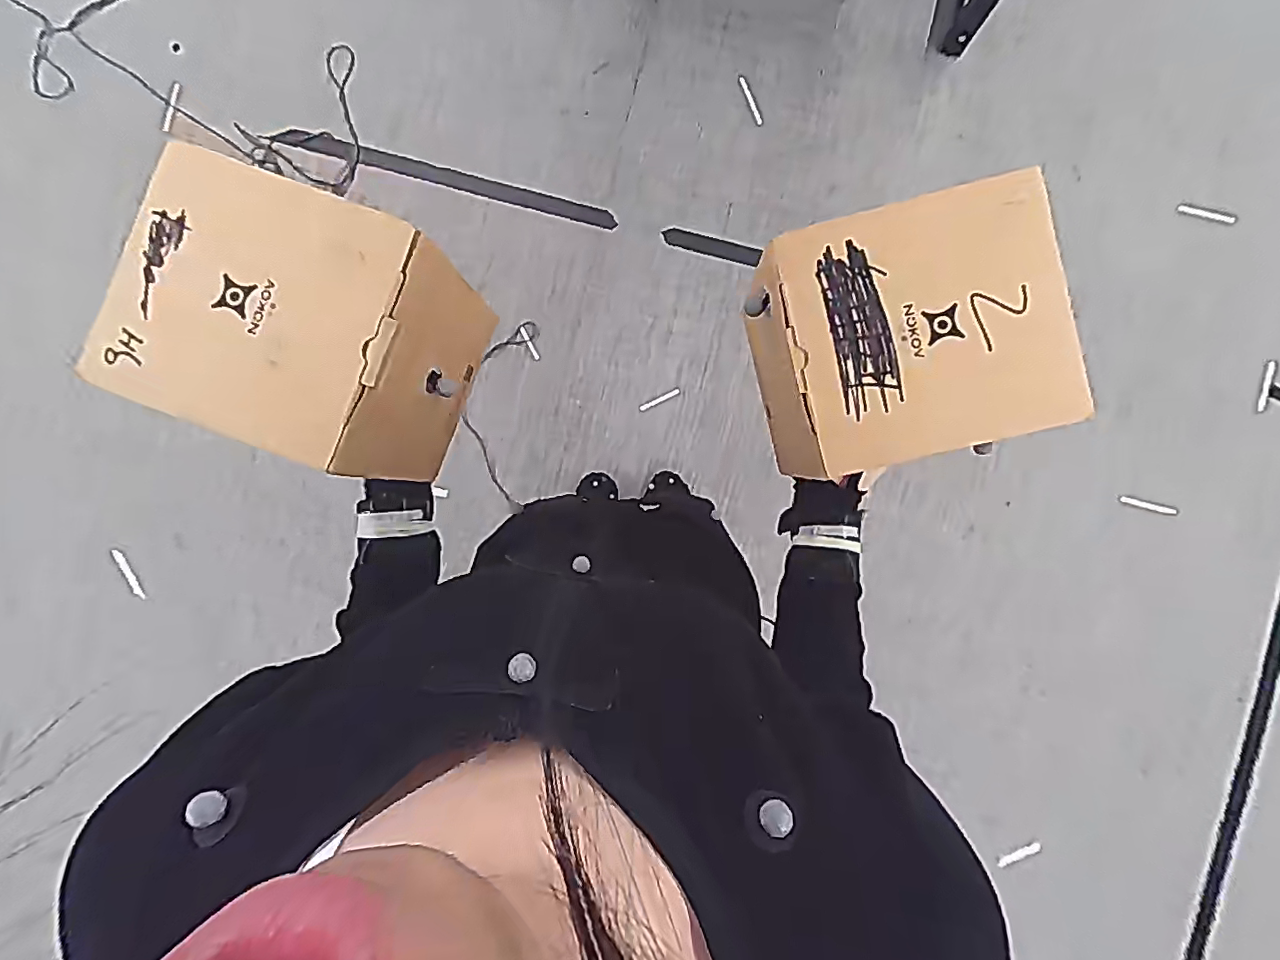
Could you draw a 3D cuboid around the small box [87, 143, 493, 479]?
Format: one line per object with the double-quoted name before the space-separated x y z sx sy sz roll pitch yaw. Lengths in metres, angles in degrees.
"small box" -0.236 -0.106 0.417 0.179 0.176 0.168 20 88 1
